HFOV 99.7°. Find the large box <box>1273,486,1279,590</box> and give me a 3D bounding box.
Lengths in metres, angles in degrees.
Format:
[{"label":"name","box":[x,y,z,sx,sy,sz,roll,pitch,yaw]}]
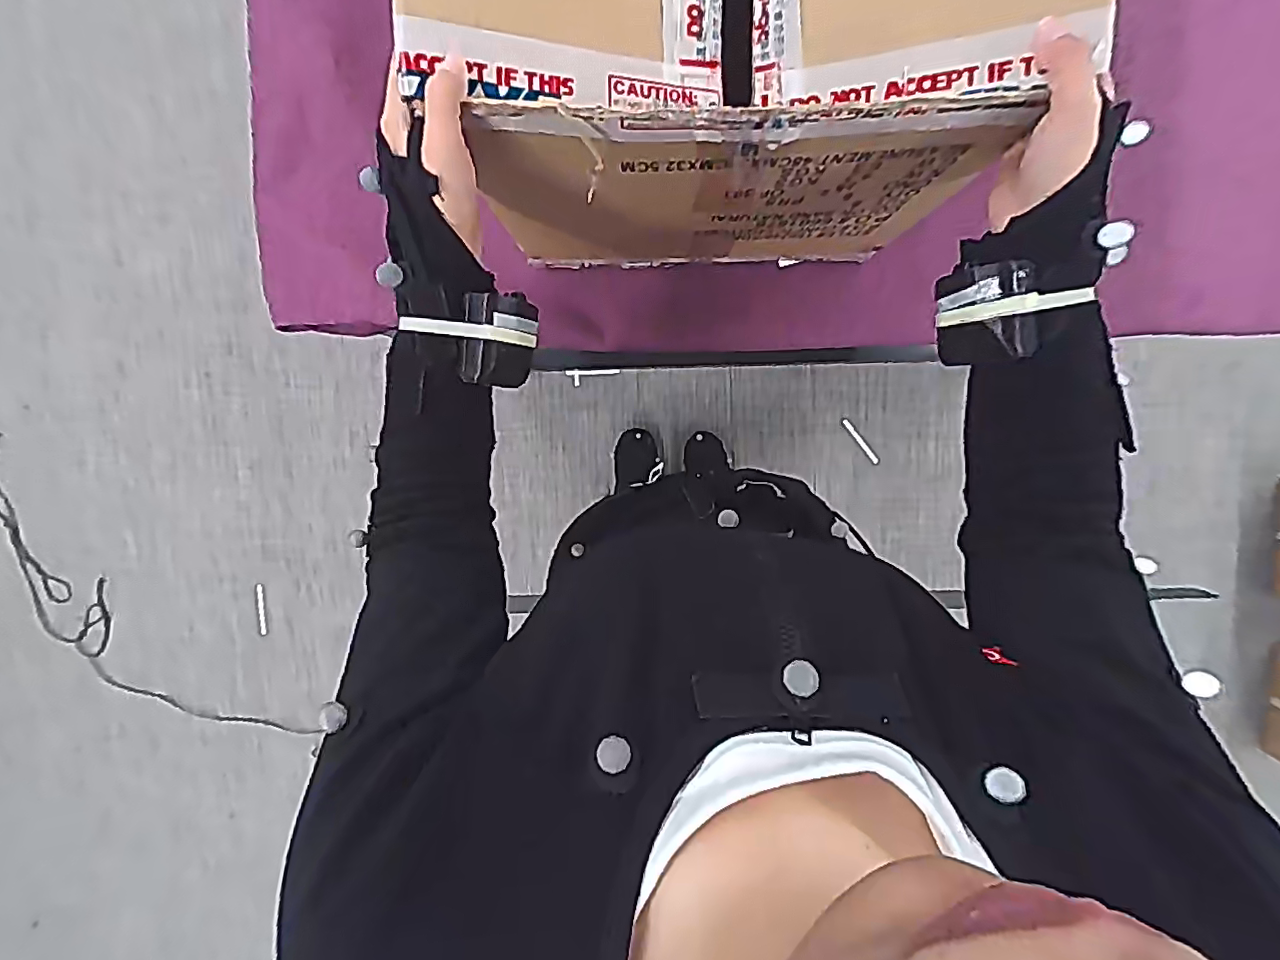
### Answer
[{"label":"large box","box":[1.795,0.136,1.203,0.408,0.320,0.320,-3,95,3]}]
